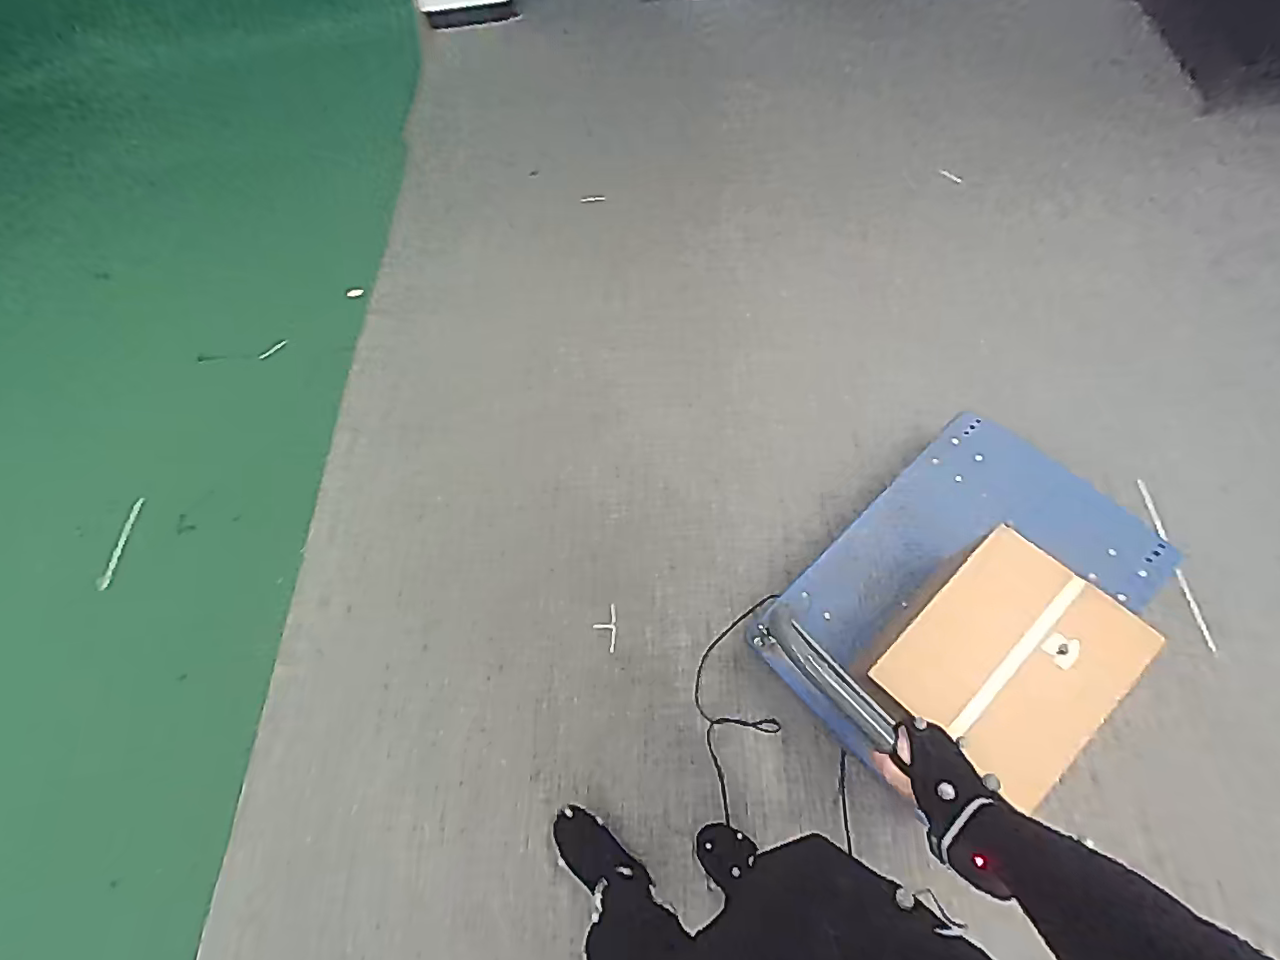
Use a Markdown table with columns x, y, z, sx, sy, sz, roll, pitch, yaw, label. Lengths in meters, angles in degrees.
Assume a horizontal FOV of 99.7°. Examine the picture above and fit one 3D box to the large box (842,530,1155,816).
| x | y | z | sx | sy | sz | roll | pitch | yaw | label |
| --- | --- | --- | --- | --- | --- | --- | --- | --- | --- |
| 0.687 | 0.383 | 1.107 | 0.408 | 0.320 | 0.320 | -43 | 68 | -10 | large box |
